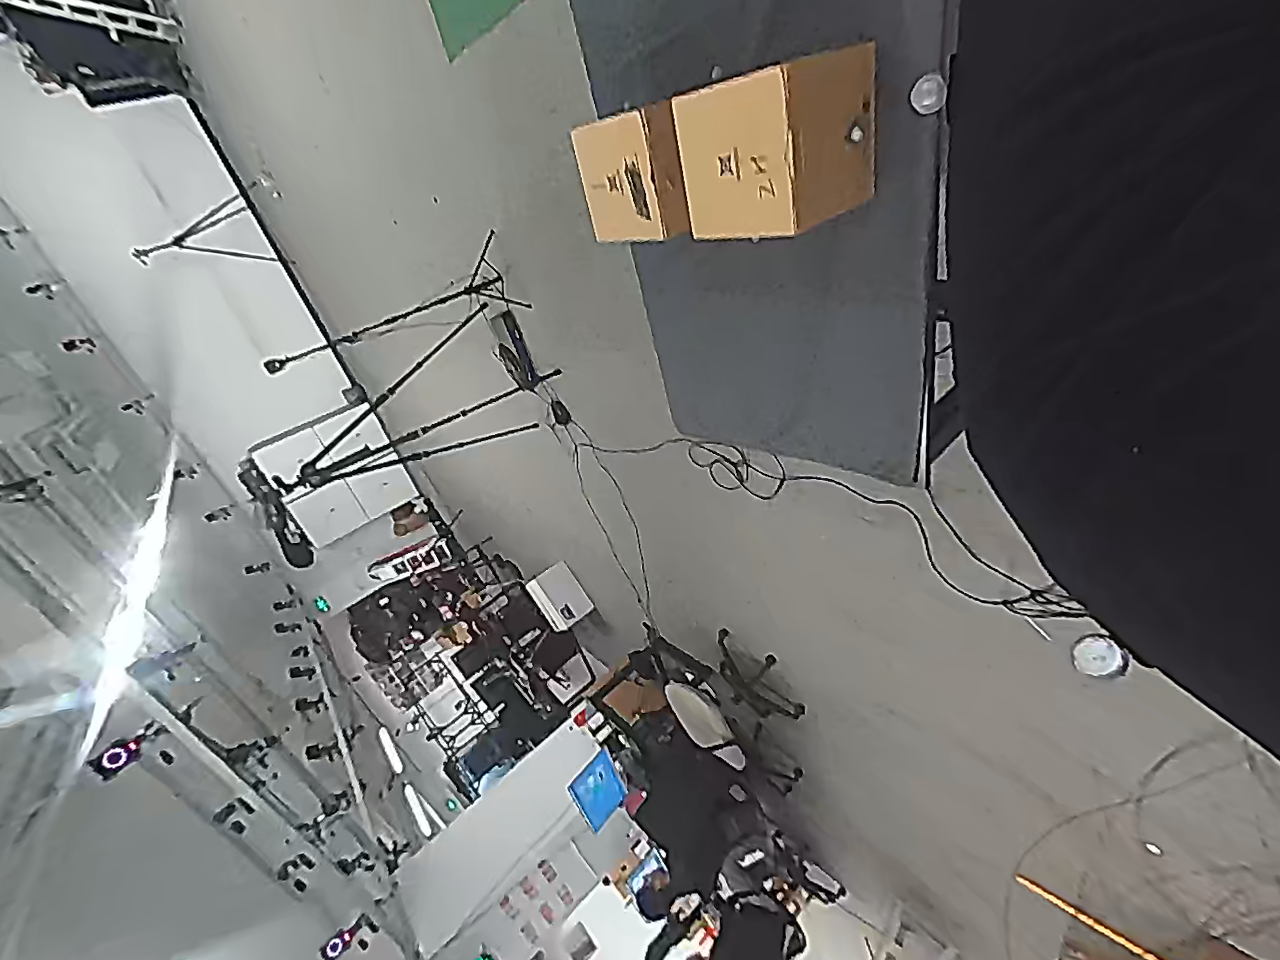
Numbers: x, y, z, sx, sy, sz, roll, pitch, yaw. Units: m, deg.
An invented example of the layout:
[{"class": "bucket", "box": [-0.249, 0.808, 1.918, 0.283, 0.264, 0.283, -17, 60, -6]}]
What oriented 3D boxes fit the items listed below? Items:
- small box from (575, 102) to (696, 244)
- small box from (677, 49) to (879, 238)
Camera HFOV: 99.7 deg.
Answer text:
[{"class": "small box", "box": [0.031, -0.485, 0.853, 0.179, 0.176, 0.168, 24, 140, 45]}, {"class": "small box", "box": [0.177, -0.419, 0.690, 0.179, 0.176, 0.168, 24, 140, 46]}]
